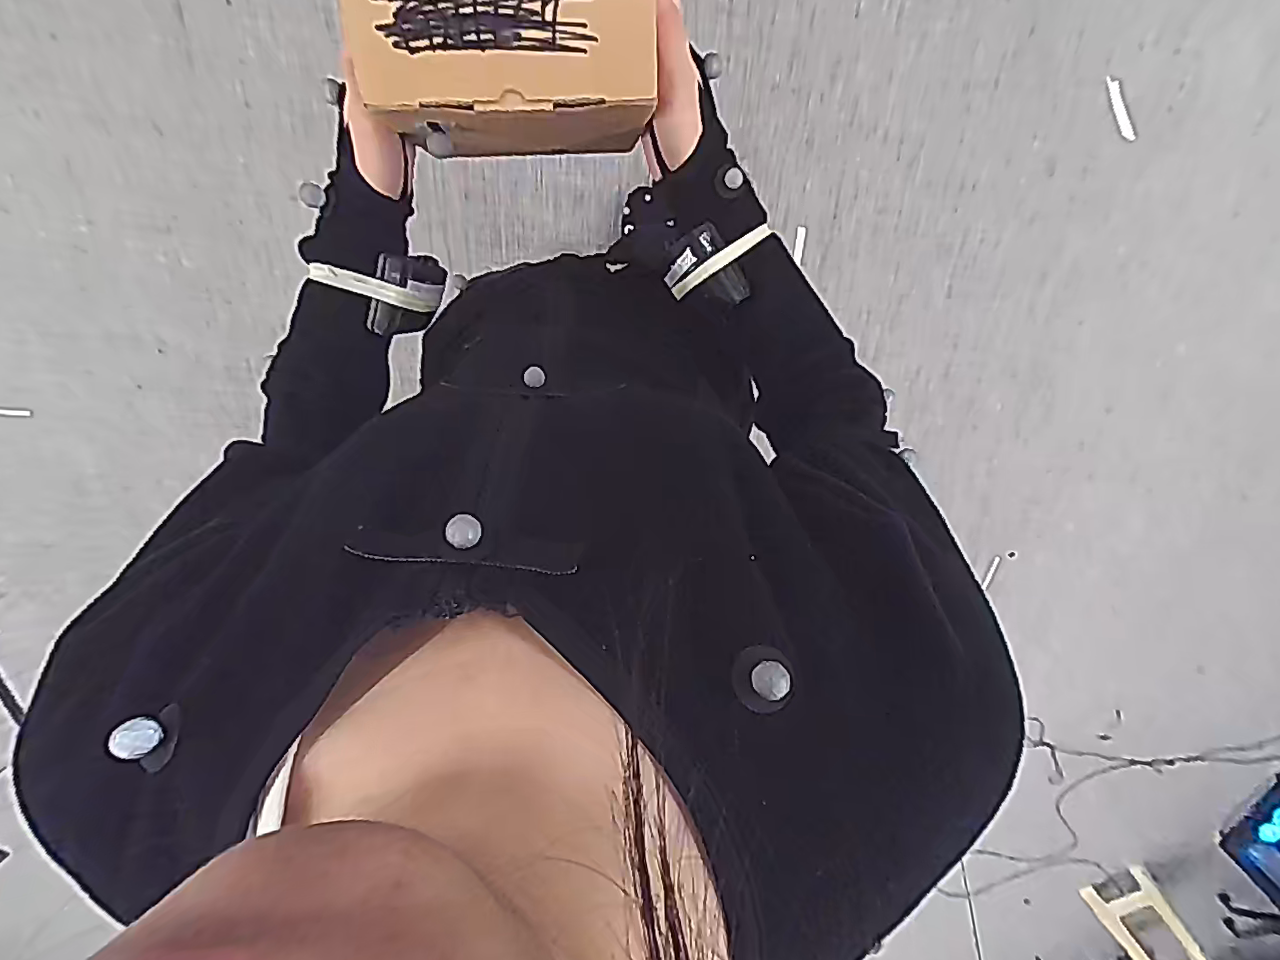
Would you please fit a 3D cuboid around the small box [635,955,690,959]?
[{"bbox_3d":[0.048,1.365,1.391,0.179,0.176,0.168,0,119,-4],"label":"small box"}]
